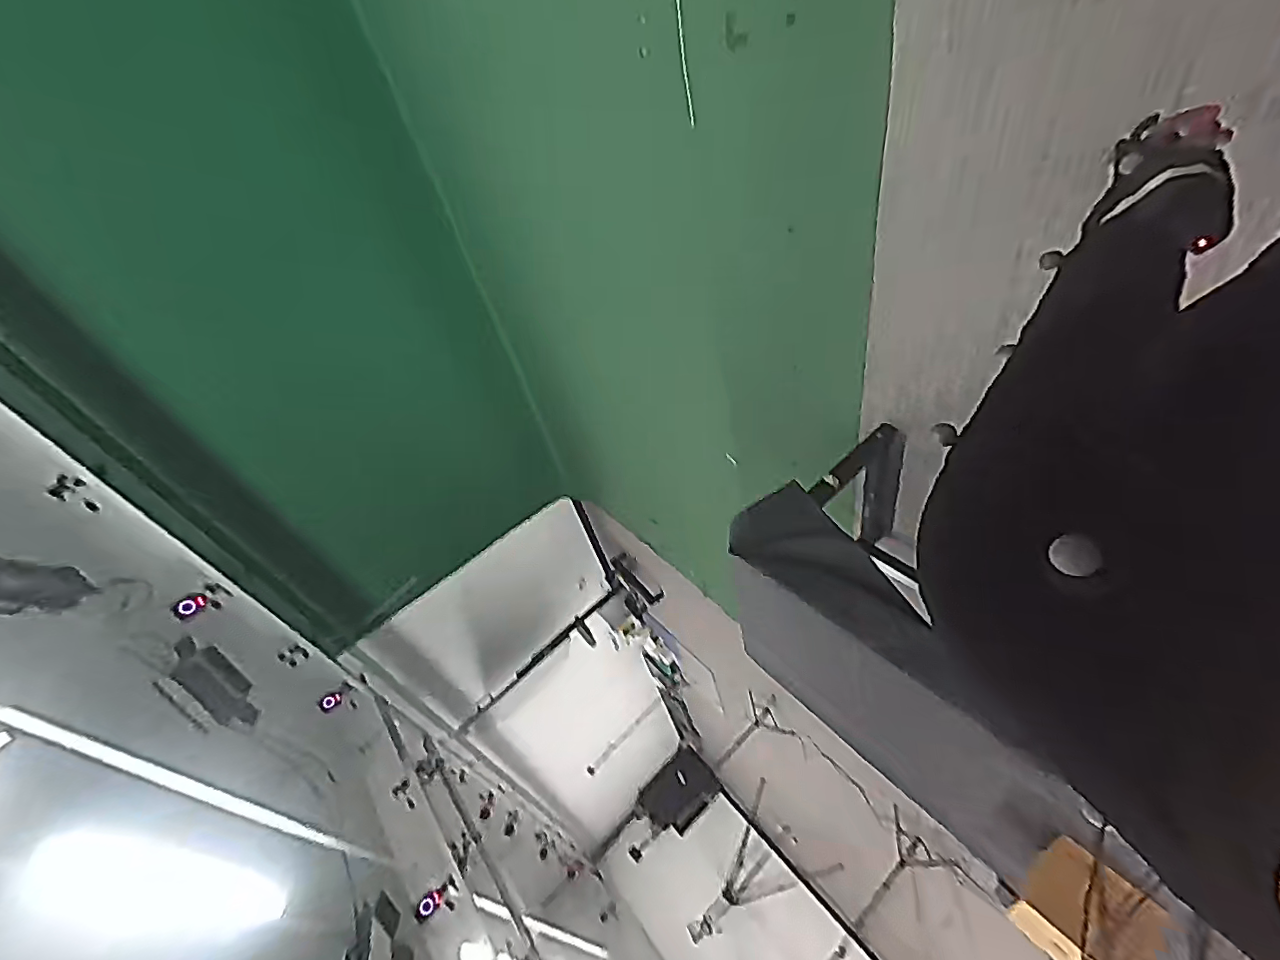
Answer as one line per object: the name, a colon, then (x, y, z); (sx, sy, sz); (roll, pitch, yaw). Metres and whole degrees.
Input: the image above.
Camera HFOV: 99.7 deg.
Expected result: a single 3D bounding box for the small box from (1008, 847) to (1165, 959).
small box: (0.854, 0.852, 1.039); (0.168, 0.176, 0.179); (33, 153, 42)
